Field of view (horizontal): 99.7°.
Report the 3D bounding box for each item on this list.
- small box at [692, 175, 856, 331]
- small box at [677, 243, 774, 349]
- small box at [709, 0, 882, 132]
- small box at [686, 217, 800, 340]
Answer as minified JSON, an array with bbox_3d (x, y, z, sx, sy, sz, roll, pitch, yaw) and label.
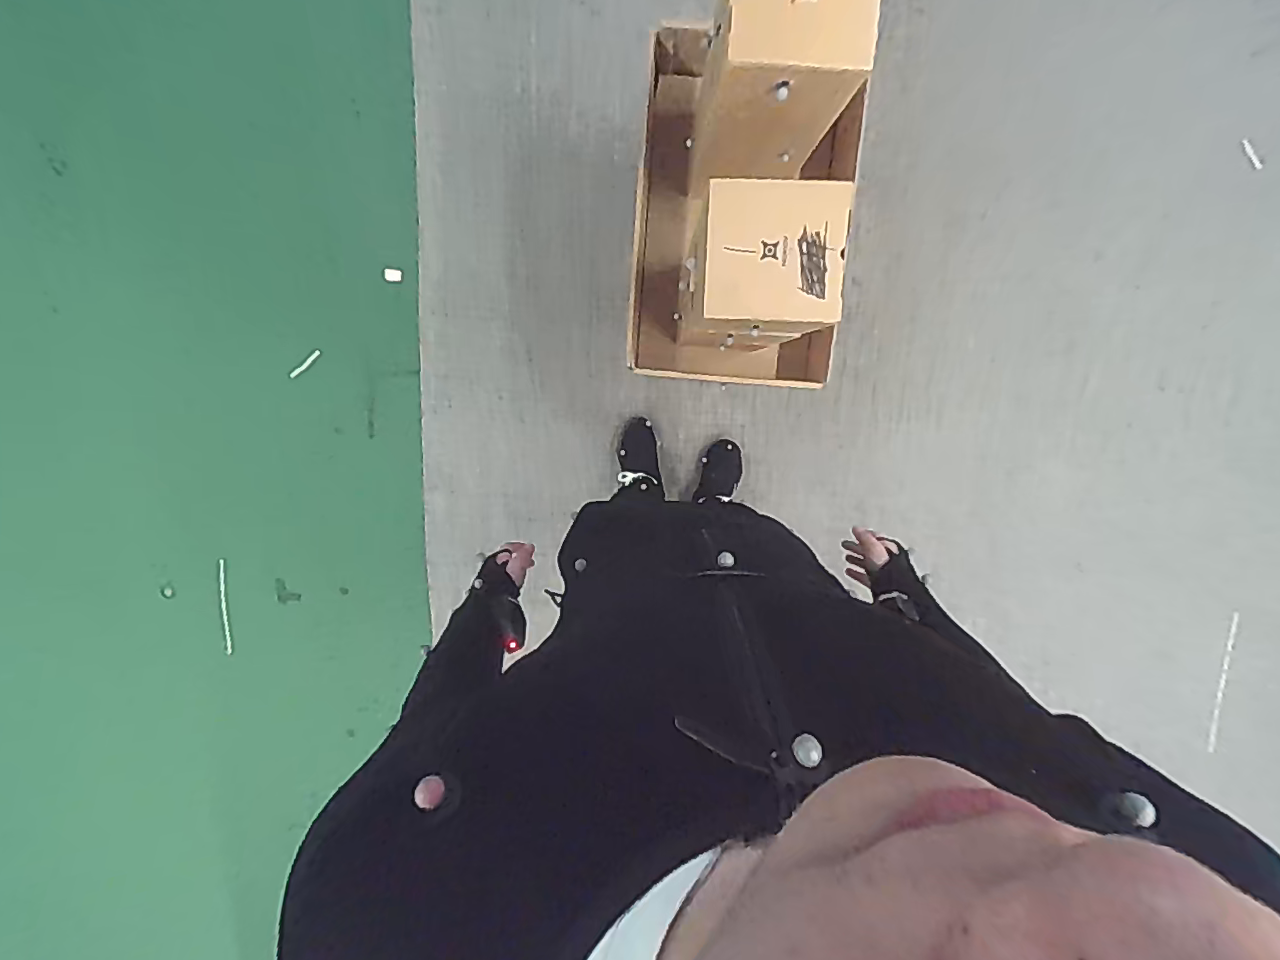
[{"bbox_3d":[0.170,-0.297,0.741,0.179,0.176,0.168,2,101,1],"label":"small box"},{"bbox_3d":[0.170,-0.354,1.065,0.179,0.176,0.168,5,100,-2],"label":"small box"},{"bbox_3d":[0.192,-0.576,0.697,0.179,0.176,0.168,3,100,-1],"label":"small box"},{"bbox_3d":[0.170,-0.325,0.904,0.179,0.176,0.168,3,101,1],"label":"small box"}]
